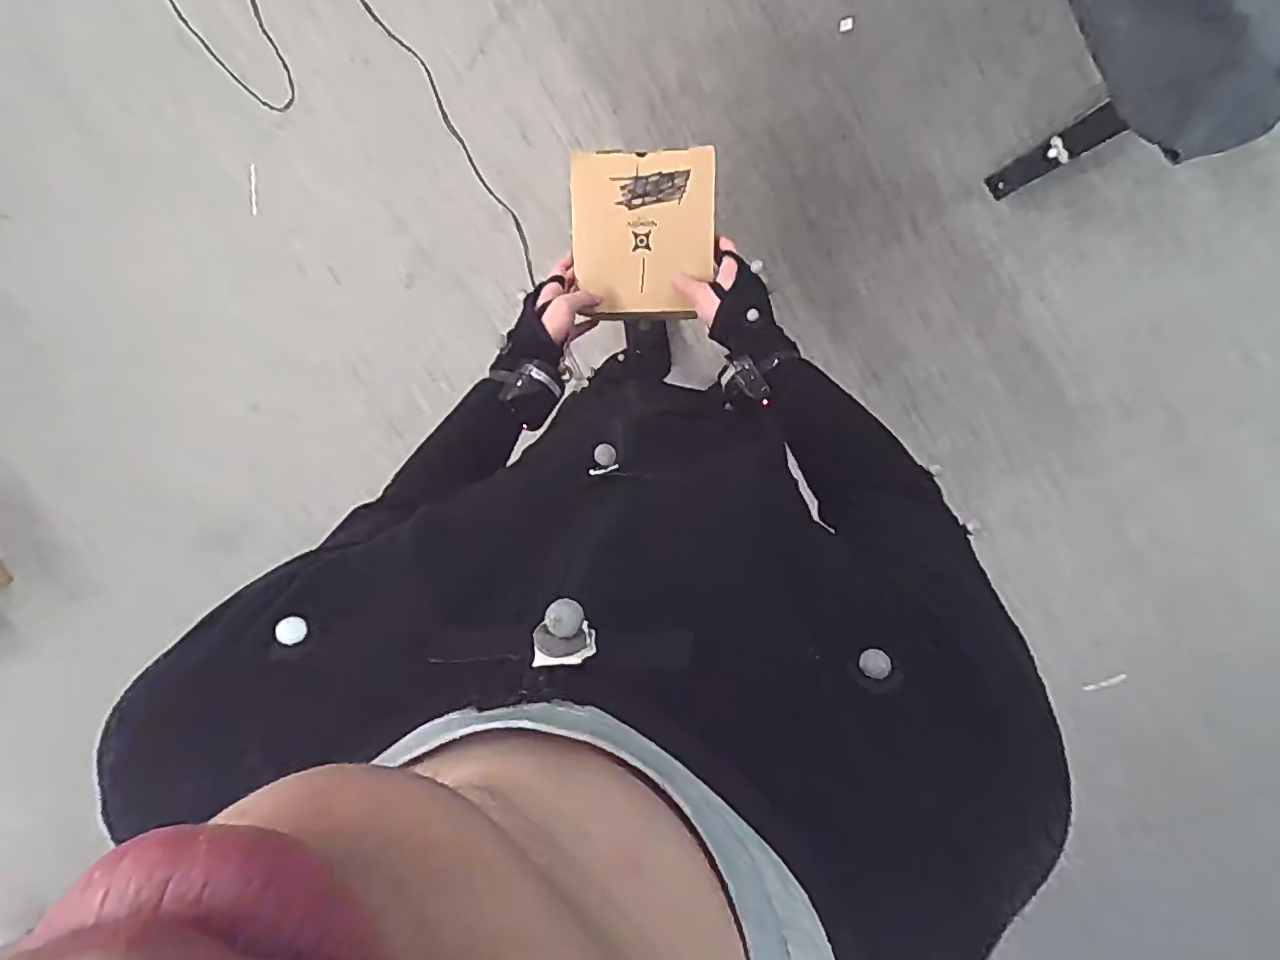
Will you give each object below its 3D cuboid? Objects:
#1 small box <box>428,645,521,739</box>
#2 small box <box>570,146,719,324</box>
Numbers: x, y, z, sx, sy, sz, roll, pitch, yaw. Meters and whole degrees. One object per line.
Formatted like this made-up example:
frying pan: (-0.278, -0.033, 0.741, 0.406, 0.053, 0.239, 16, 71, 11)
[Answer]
small box: (-0.478, 0.620, 1.600, 0.179, 0.176, 0.168, -32, 95, 20)
small box: (0.009, -0.293, 0.682, 0.168, 0.176, 0.179, 1, 103, 4)
